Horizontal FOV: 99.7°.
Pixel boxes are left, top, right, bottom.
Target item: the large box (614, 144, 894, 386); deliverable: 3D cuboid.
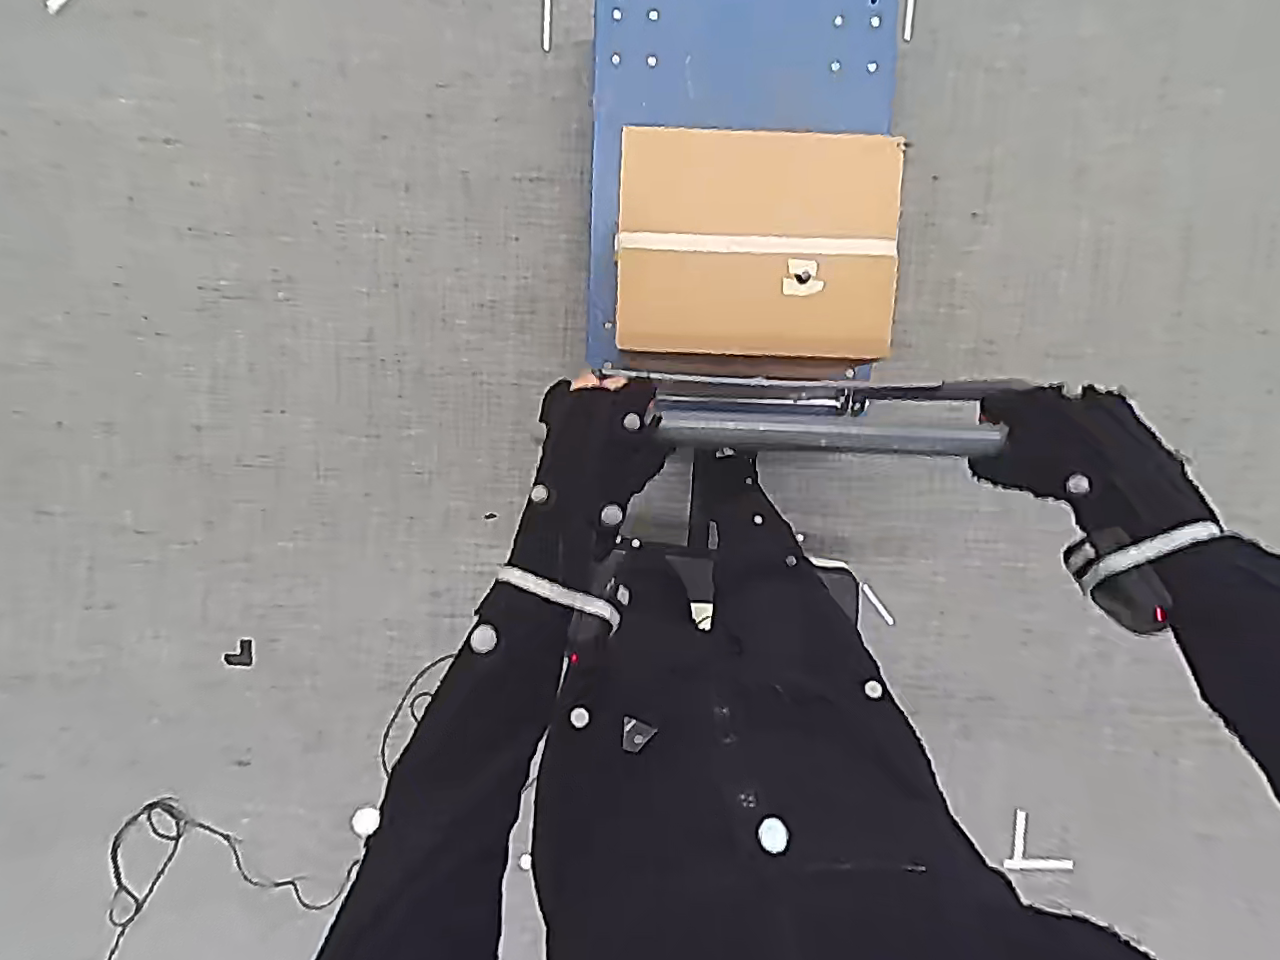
[{"bbox_3d":[0.160,-0.332,0.928,0.408,0.320,0.320,1,95,-1],"label":"large box"}]
